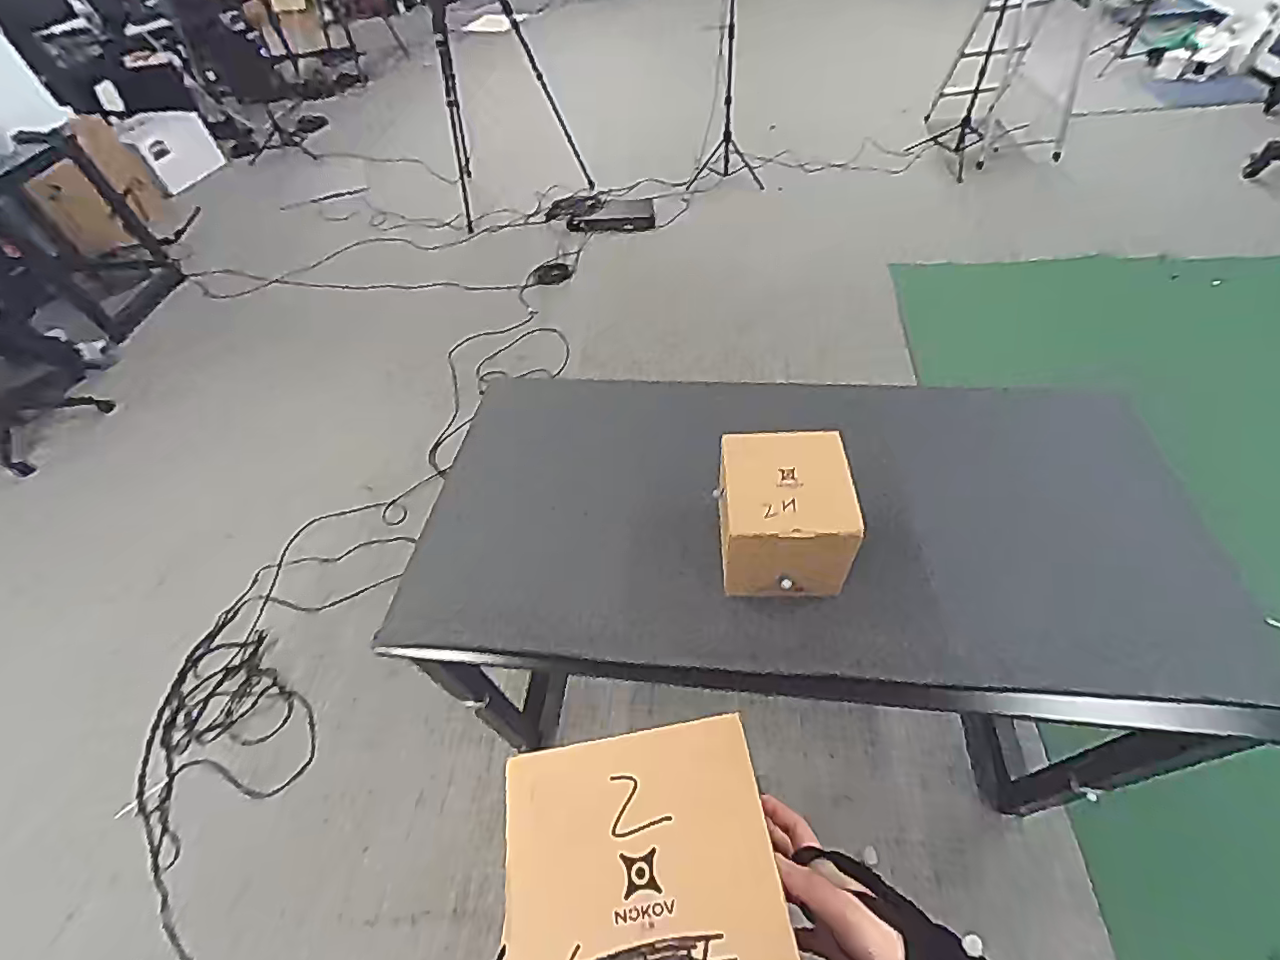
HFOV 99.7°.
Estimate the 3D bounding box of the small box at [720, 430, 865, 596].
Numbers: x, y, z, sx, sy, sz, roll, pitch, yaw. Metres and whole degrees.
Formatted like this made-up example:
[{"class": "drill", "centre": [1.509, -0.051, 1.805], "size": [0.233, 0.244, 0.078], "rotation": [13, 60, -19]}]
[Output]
[{"class": "small box", "centre": [0.203, 0.048, 0.776], "size": [0.168, 0.176, 0.179], "rotation": [-1, 50, 6]}]
